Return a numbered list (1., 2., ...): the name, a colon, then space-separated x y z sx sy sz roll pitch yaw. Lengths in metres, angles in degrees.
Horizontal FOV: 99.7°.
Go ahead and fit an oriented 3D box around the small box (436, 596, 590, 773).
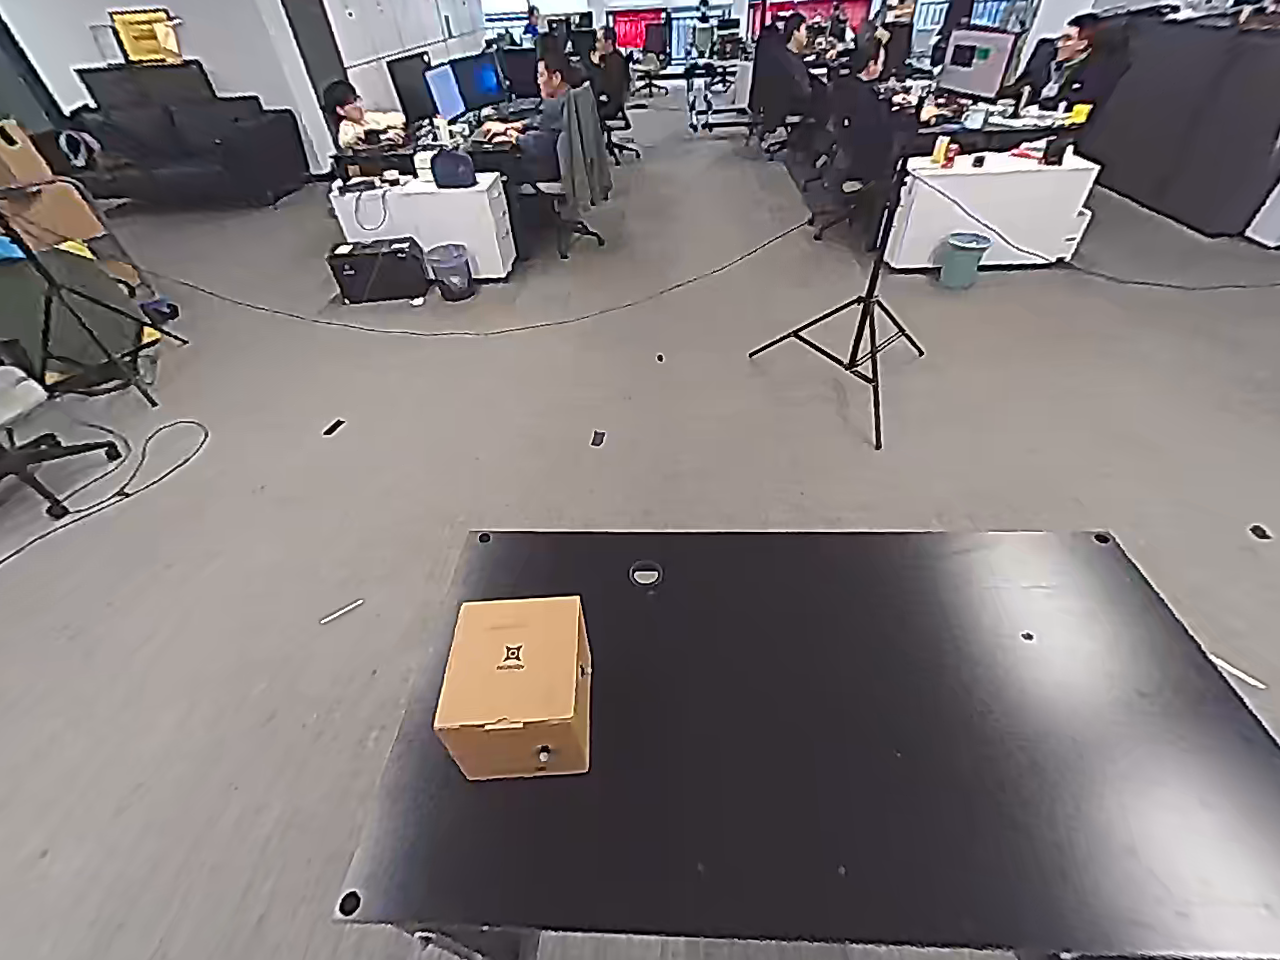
1. small box: -0.158 0.284 0.743 0.168 0.176 0.179 -3 42 -1
